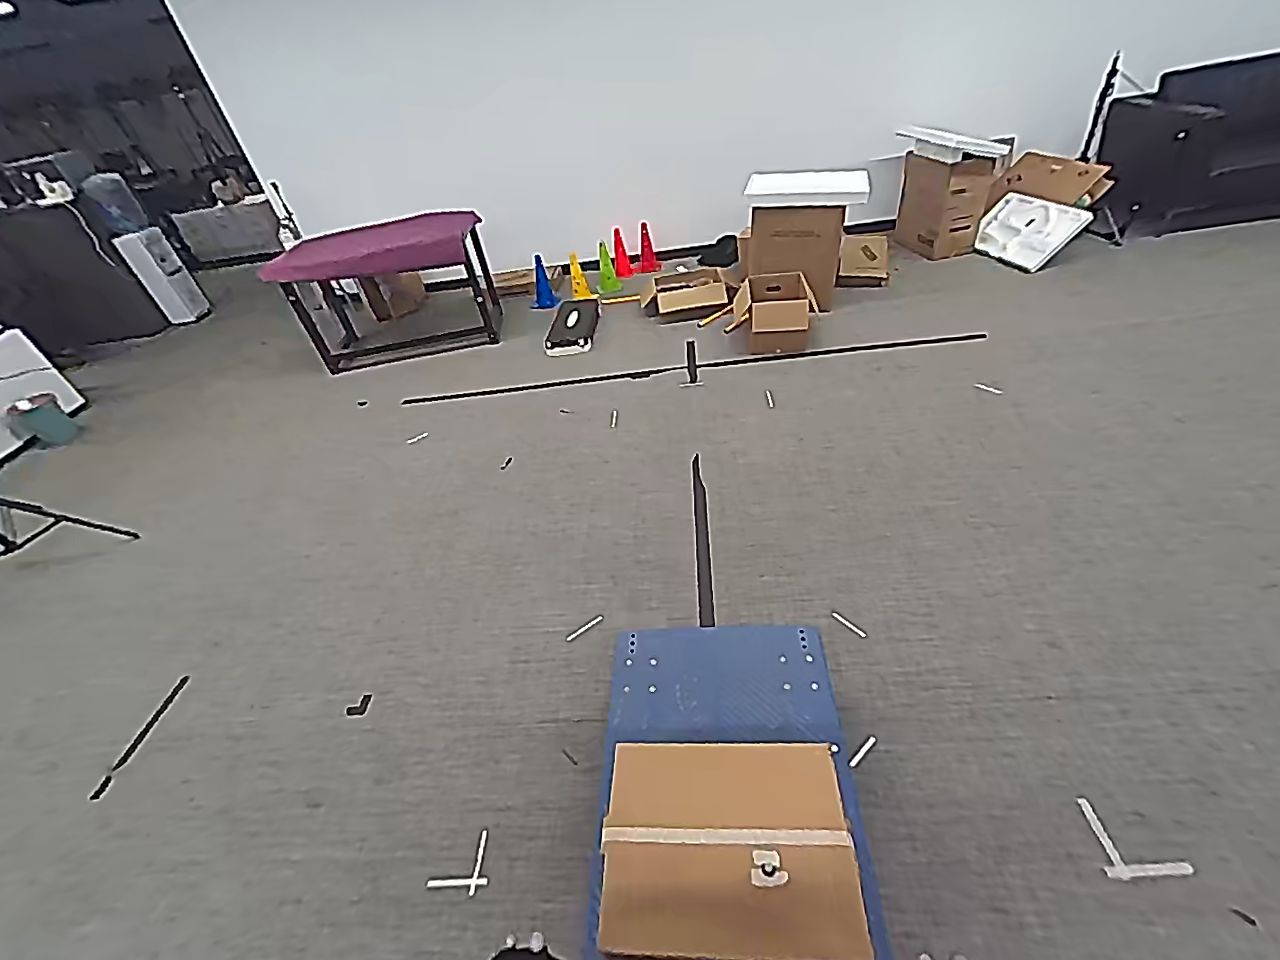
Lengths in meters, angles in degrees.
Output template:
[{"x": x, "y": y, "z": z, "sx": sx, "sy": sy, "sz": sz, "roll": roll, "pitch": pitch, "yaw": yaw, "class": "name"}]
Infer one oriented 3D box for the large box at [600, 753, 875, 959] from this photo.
[{"x": 0.159, "y": 0.724, "z": 0.981, "sx": 0.408, "sy": 0.320, "sz": 0.320, "roll": -4, "pitch": 40, "yaw": 7, "class": "large box"}]
